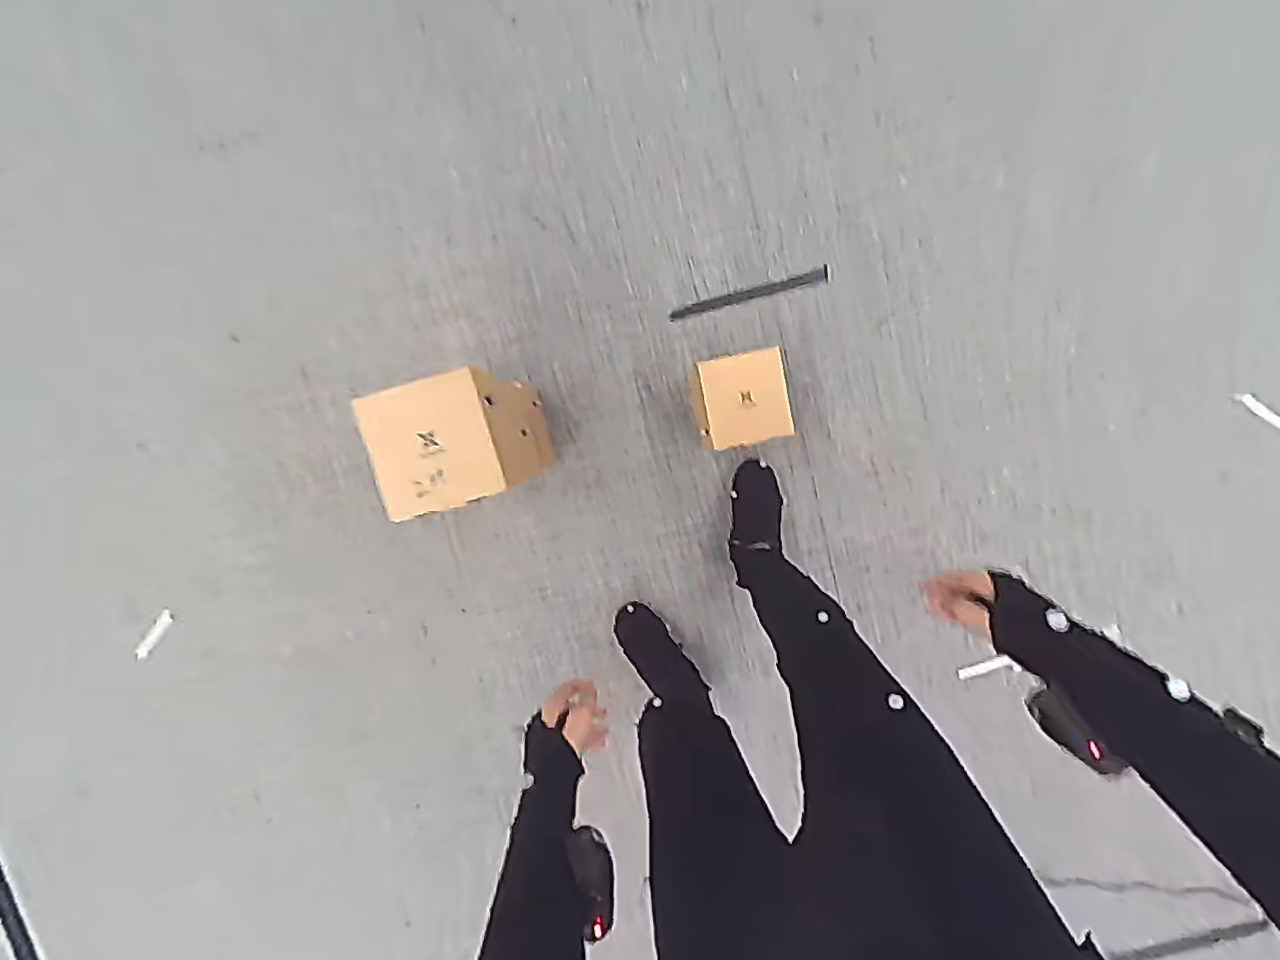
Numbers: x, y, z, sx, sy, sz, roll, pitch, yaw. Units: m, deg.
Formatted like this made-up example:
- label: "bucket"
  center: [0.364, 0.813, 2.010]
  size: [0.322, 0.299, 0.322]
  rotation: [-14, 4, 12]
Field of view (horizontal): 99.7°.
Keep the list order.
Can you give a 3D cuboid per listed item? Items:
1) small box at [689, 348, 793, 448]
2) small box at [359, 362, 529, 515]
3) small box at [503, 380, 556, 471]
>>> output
- label: "small box"
  center: [0.205, -0.167, 1.145]
  size: [0.168, 0.176, 0.179]
  rotation: [-12, 96, -1]
- label: "small box"
  center: [-0.278, -0.061, 0.808]
  size: [0.168, 0.176, 0.179]
  rotation: [-16, 96, 1]
- label: "small box"
  center: [-0.284, -0.096, 1.134]
  size: [0.168, 0.176, 0.179]
  rotation: [-16, 95, 0]
